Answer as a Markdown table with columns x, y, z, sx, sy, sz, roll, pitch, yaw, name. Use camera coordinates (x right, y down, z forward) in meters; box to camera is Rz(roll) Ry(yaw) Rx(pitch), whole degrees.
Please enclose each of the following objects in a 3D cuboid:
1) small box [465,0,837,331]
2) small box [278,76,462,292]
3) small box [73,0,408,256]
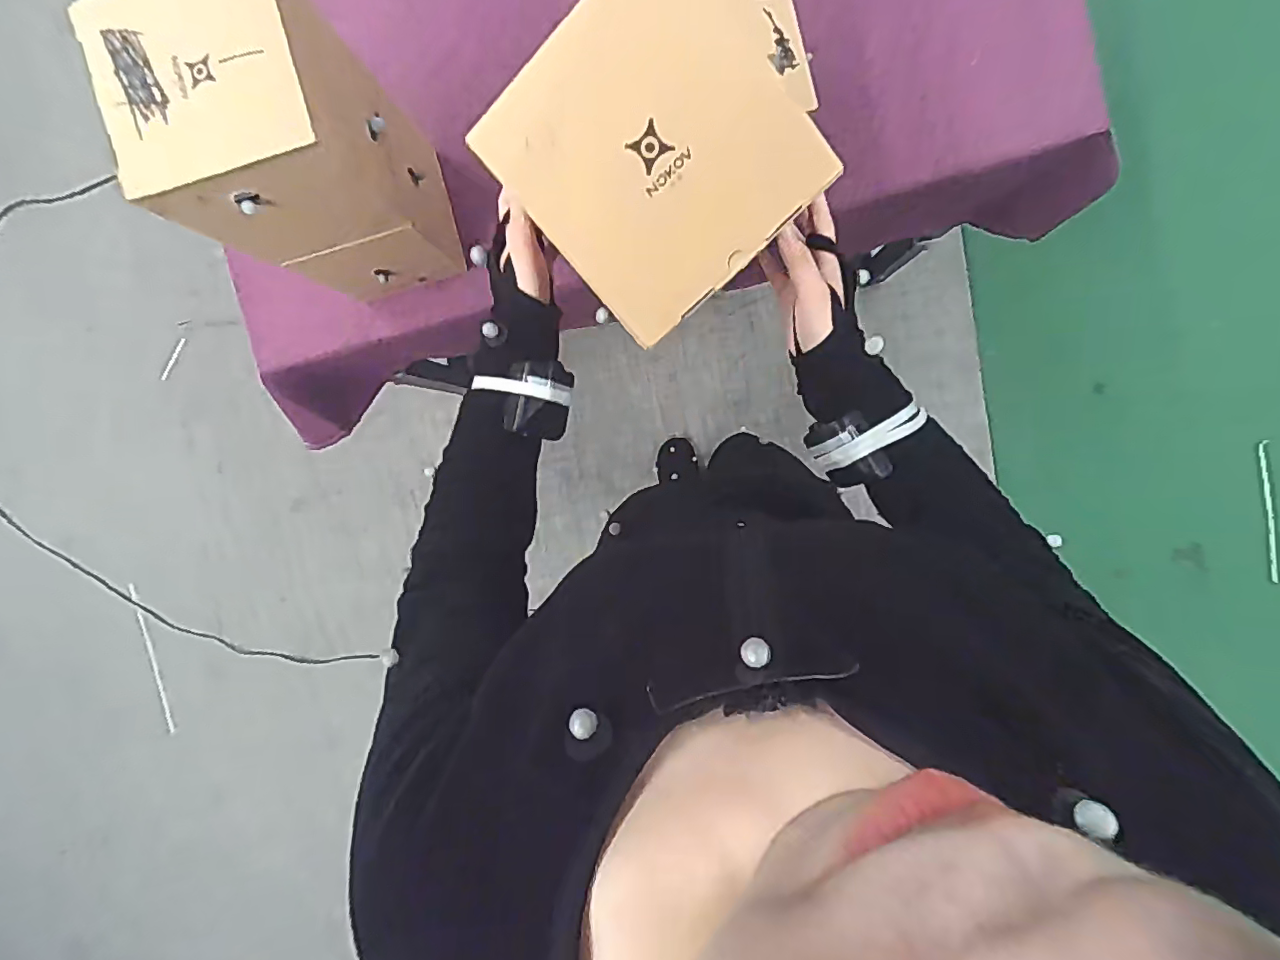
| x | y | z | sx | sy | sz | roll | pitch | yaw | name |
| --- | --- | --- | --- | --- | --- | --- | --- | --- | --- |
| 0.009 | -0.235 | 0.409 | 0.168 | 0.176 | 0.179 | -40 | 104 | 14 | small box |
| -0.348 | -0.354 | 0.686 | 0.168 | 0.176 | 0.179 | -14 | 93 | 4 | small box |
| -0.361 | -0.340 | 0.522 | 0.179 | 0.176 | 0.168 | -14 | 94 | 4 | small box |
